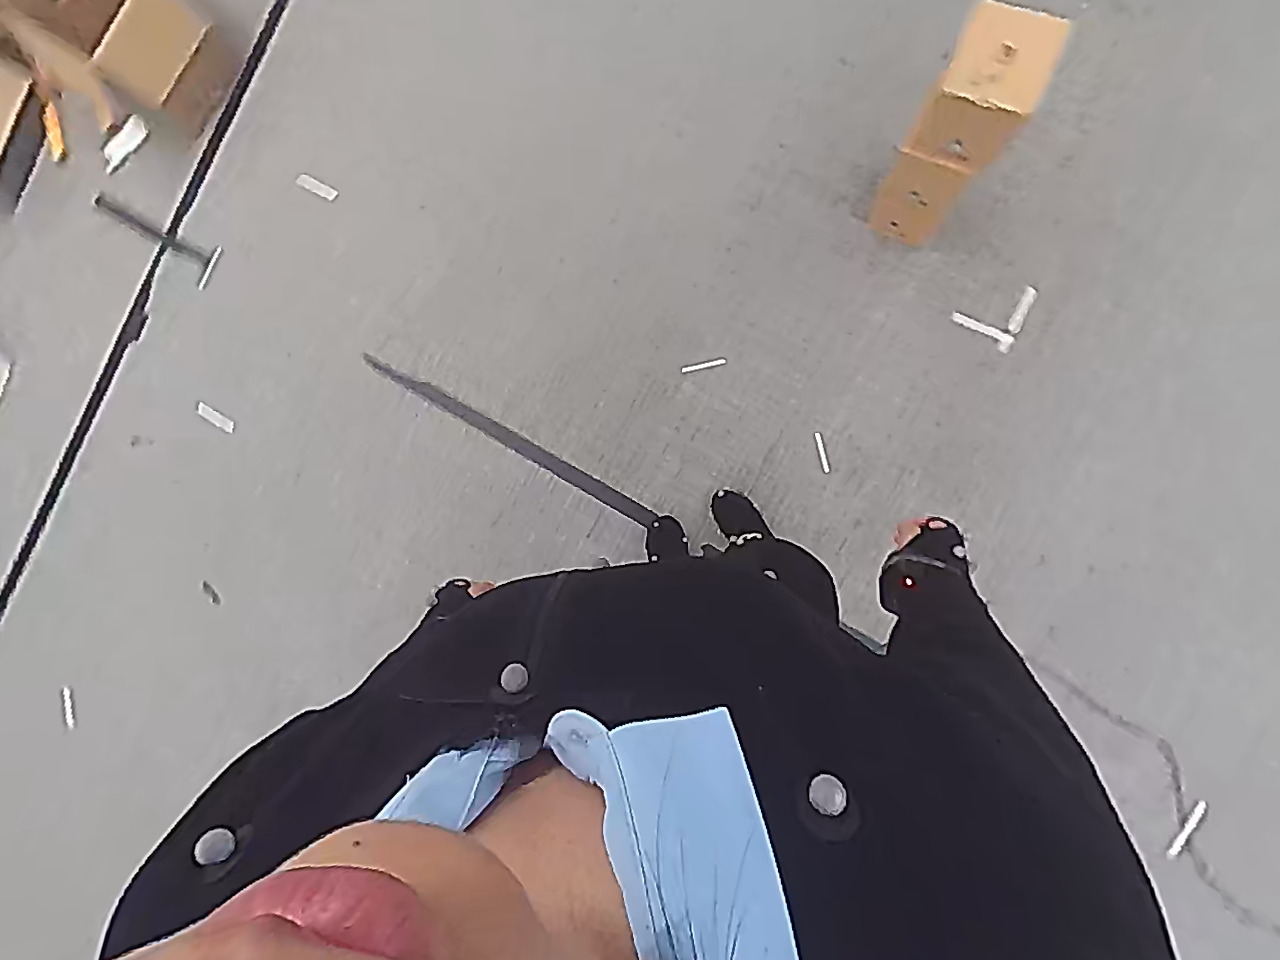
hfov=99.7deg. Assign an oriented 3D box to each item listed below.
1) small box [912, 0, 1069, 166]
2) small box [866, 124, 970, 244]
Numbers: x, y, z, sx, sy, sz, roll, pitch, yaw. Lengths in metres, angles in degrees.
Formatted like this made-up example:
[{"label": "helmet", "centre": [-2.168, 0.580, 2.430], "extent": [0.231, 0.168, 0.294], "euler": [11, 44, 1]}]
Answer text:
[{"label": "small box", "centre": [0.648, -0.746, 1.025], "extent": [0.168, 0.176, 0.179], "euler": [23, 93, 10]}, {"label": "small box", "centre": [0.692, -0.731, 1.351], "extent": [0.168, 0.176, 0.179], "euler": [26, 93, 9]}]
